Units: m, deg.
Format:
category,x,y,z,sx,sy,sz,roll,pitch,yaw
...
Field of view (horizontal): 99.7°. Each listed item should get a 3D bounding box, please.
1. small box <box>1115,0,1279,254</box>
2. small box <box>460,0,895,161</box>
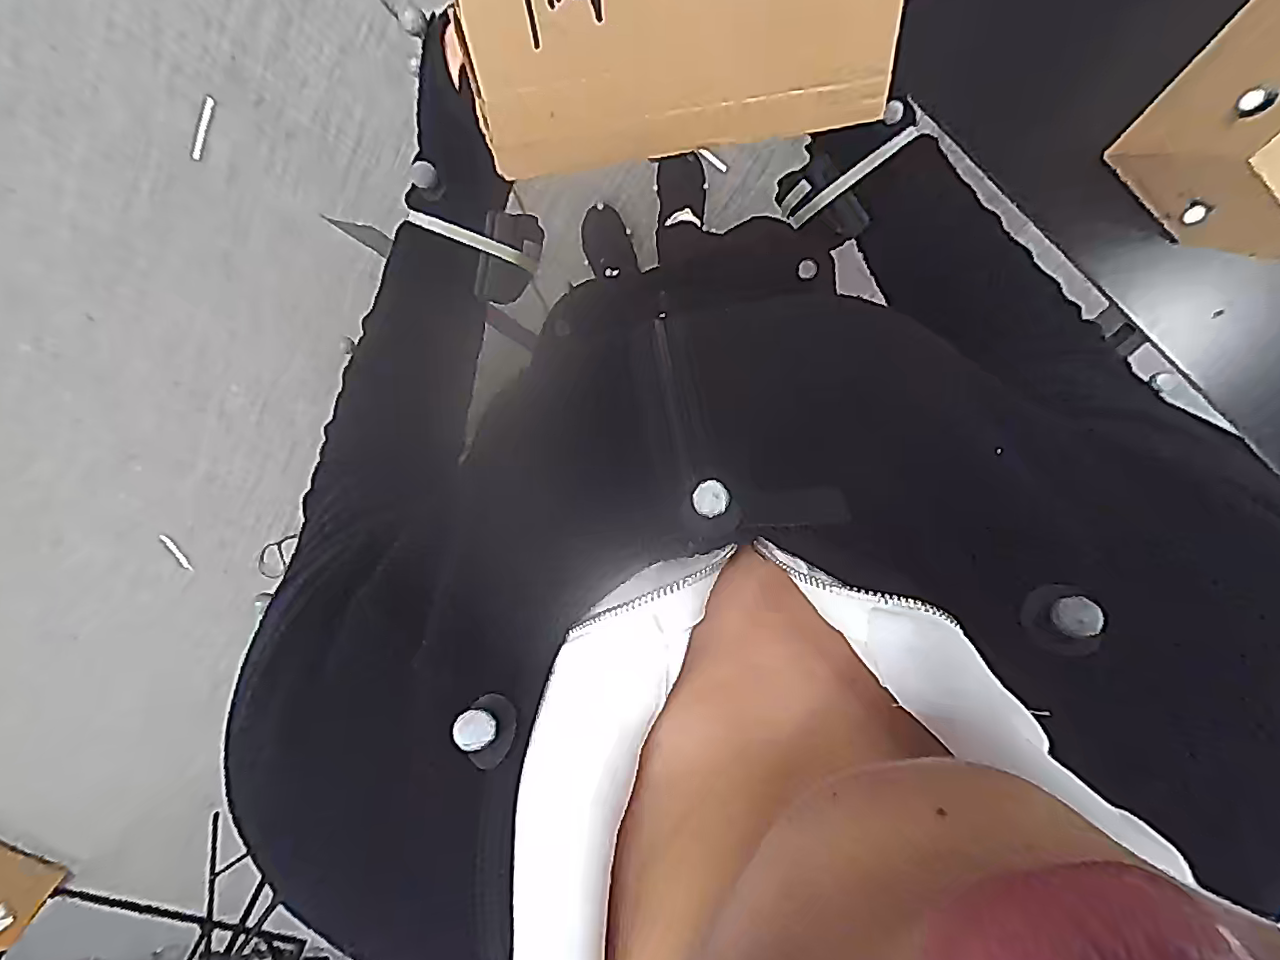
category,x,y,z,sx,sy,sz,roll,pitch,yaw
small box,0.615,-0.338,0.514,0.168,0.176,0.179,29,117,-18
small box,0.008,-0.271,0.248,0.179,0.176,0.168,-7,136,2
